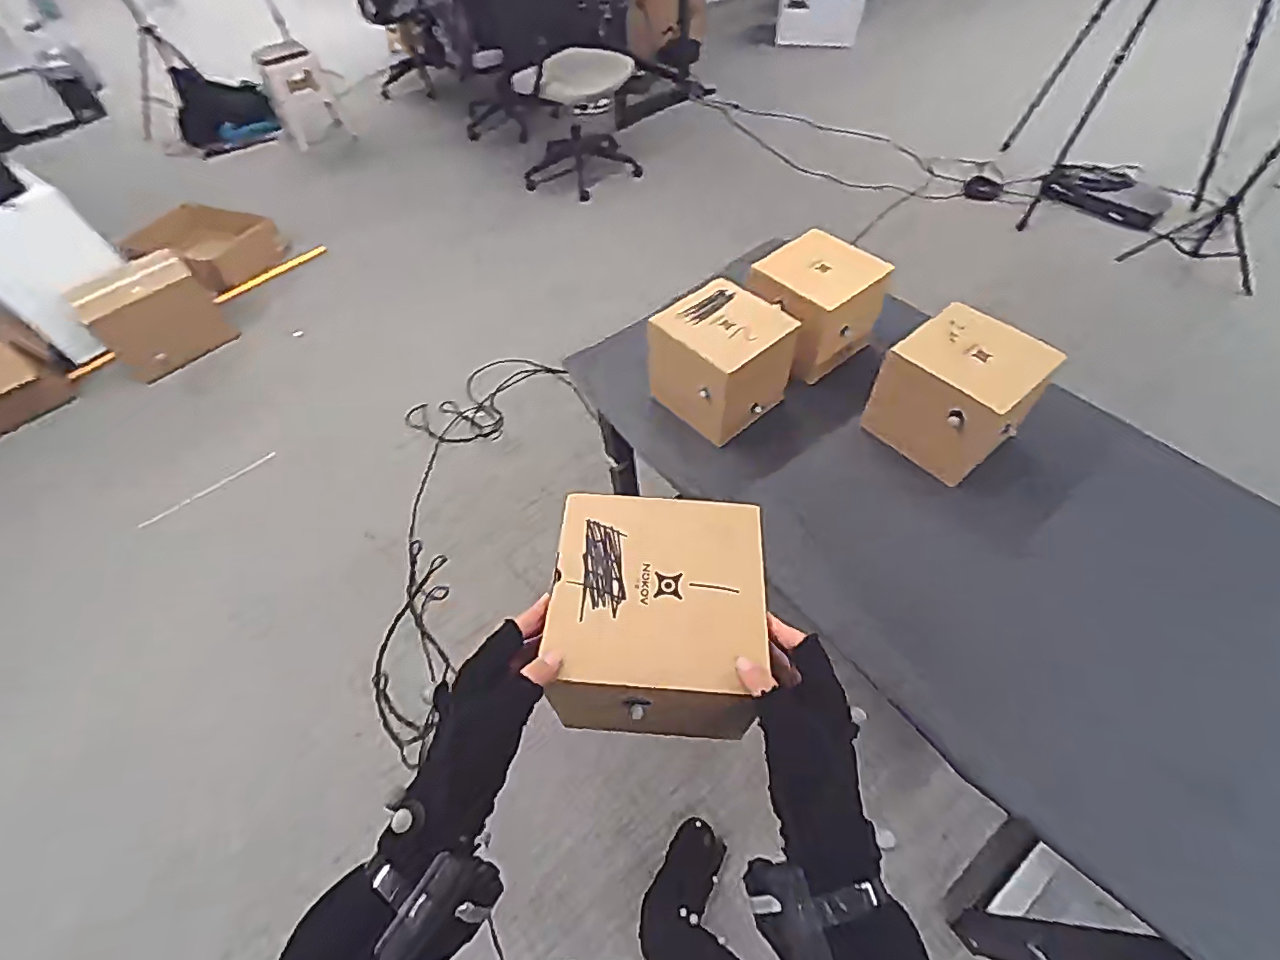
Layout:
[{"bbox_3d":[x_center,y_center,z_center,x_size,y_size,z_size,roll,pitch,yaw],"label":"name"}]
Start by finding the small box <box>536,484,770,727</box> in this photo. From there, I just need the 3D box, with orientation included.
[{"bbox_3d":[0.016,0.122,0.504,0.179,0.176,0.168,4,55,3],"label":"small box"}]

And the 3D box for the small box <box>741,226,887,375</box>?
[{"bbox_3d":[0.301,-0.315,0.972,0.168,0.176,0.179,-36,59,-19],"label":"small box"}]

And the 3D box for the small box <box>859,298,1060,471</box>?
[{"bbox_3d":[0.471,-0.137,0.825,0.168,0.176,0.179,-35,59,-19],"label":"small box"}]
